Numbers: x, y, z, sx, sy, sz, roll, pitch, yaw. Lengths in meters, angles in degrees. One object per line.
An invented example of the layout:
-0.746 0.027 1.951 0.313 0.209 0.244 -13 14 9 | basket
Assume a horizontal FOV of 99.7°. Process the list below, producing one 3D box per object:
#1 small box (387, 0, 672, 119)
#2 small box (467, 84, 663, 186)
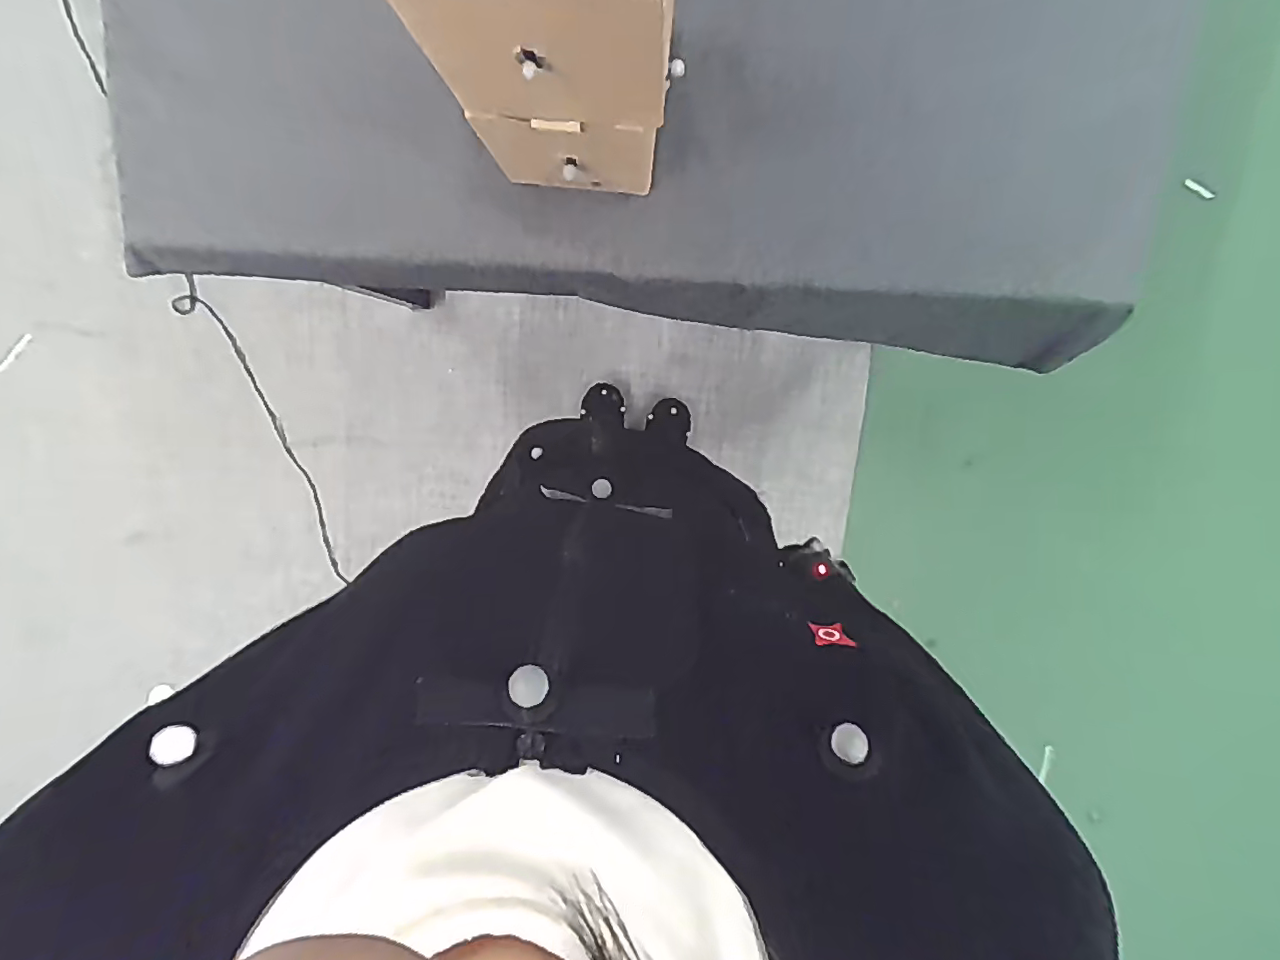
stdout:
-0.063 -0.381 0.378 0.179 0.176 0.168 5 100 3 | small box
-0.061 -0.415 0.539 0.168 0.176 0.179 5 101 2 | small box
